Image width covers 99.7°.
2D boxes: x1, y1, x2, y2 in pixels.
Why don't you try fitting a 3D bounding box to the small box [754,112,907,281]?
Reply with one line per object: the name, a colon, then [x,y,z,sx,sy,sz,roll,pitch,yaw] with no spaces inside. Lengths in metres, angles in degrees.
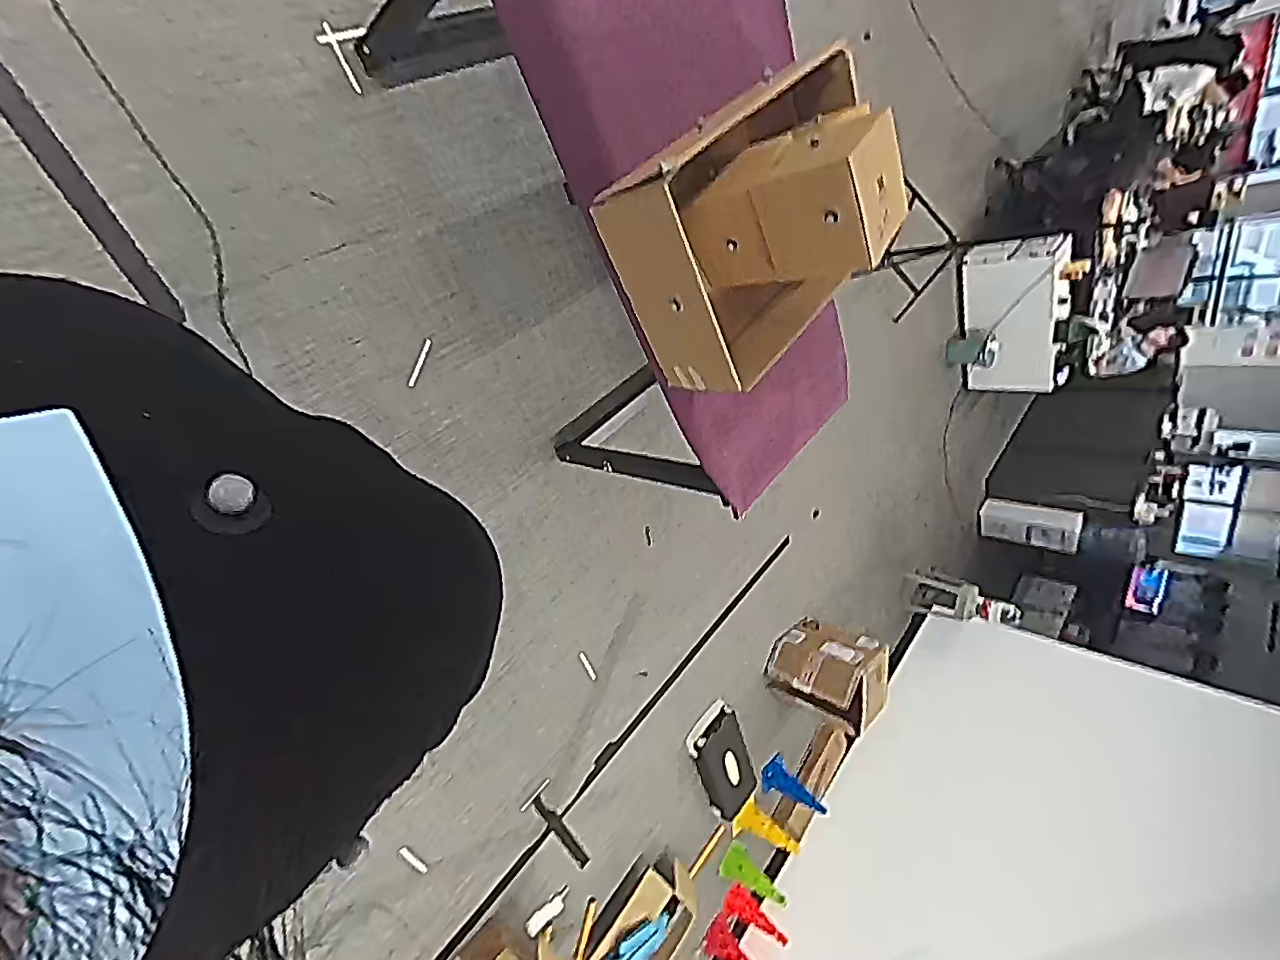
small box: [0.310,-0.449,0.882,0.168,0.176,0.179,-52,131,-25]
